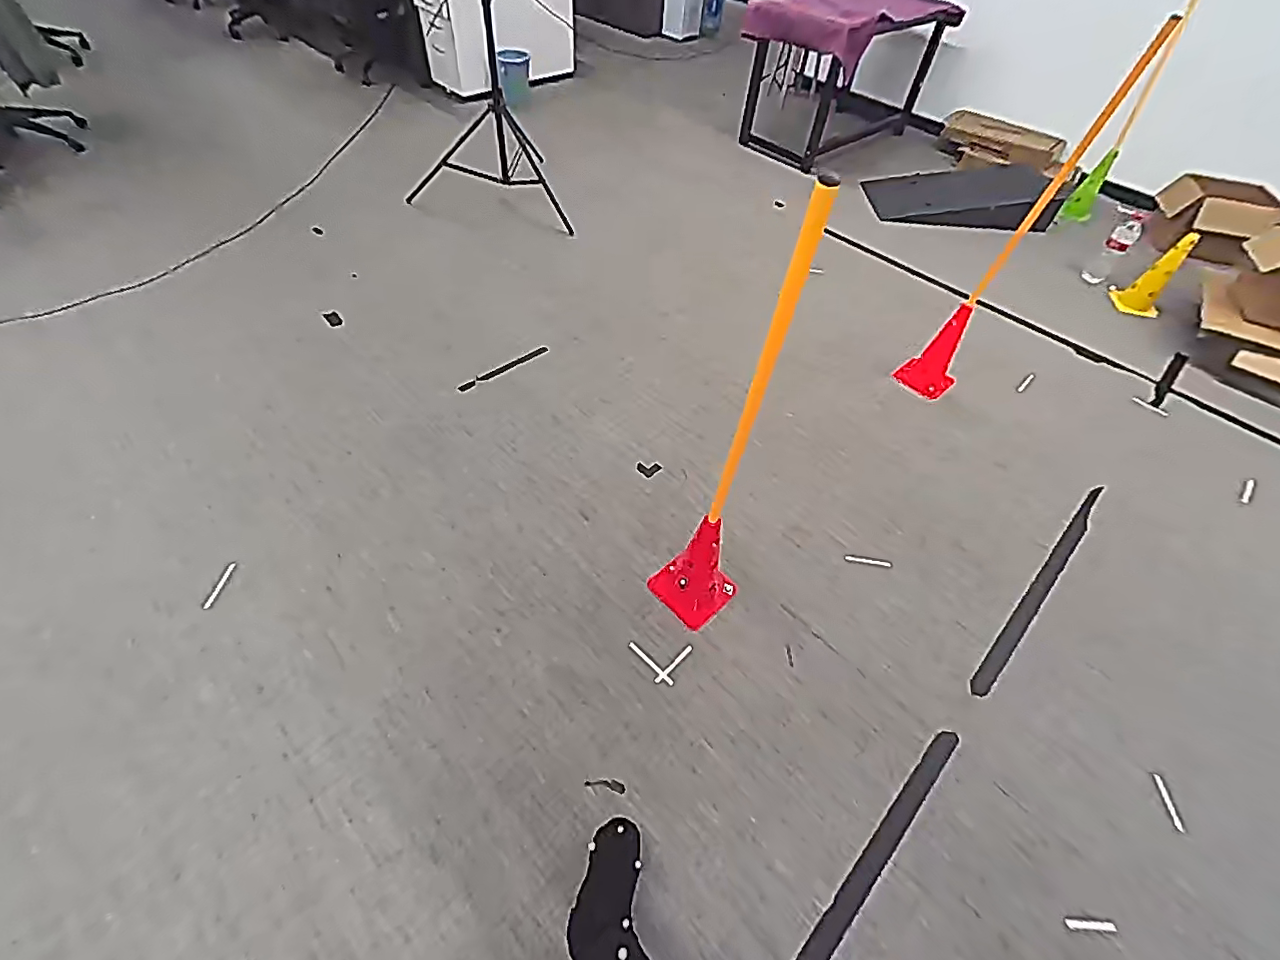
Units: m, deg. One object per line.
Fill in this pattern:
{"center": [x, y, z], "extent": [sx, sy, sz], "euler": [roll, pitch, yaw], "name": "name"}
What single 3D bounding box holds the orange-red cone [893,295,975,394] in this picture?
{"center": [1.171, -0.544, 2.077], "extent": [0.199, 0.360, 0.198], "euler": [-33, 61, -27], "name": "orange-red cone"}
